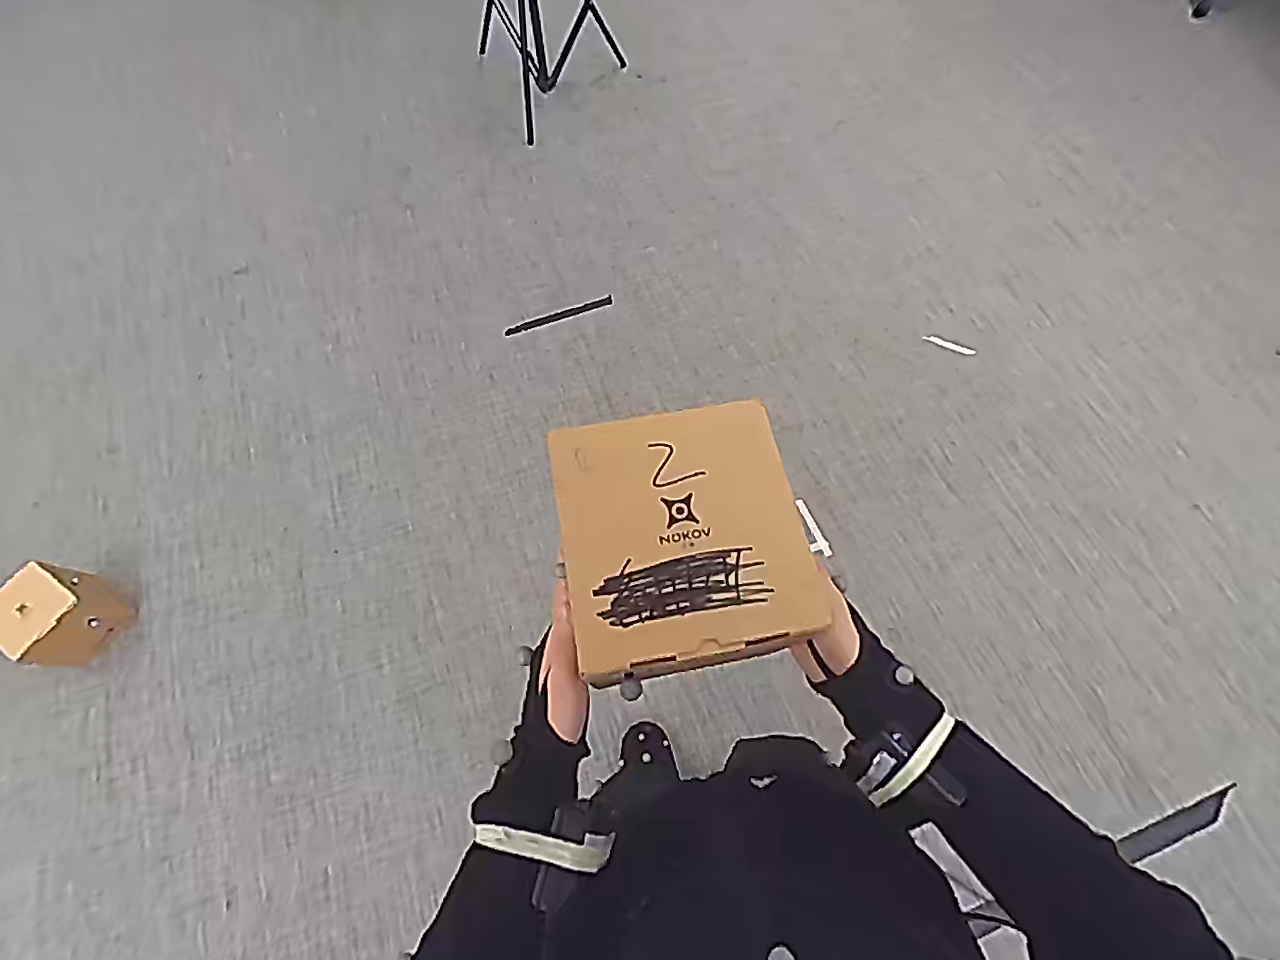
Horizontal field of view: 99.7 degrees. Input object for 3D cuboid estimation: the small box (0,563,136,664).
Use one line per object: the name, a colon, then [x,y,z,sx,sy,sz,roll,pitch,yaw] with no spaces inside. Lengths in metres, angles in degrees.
small box: [-1.402,0.330,1.311,0.179,0.176,0.168,30,69,12]
